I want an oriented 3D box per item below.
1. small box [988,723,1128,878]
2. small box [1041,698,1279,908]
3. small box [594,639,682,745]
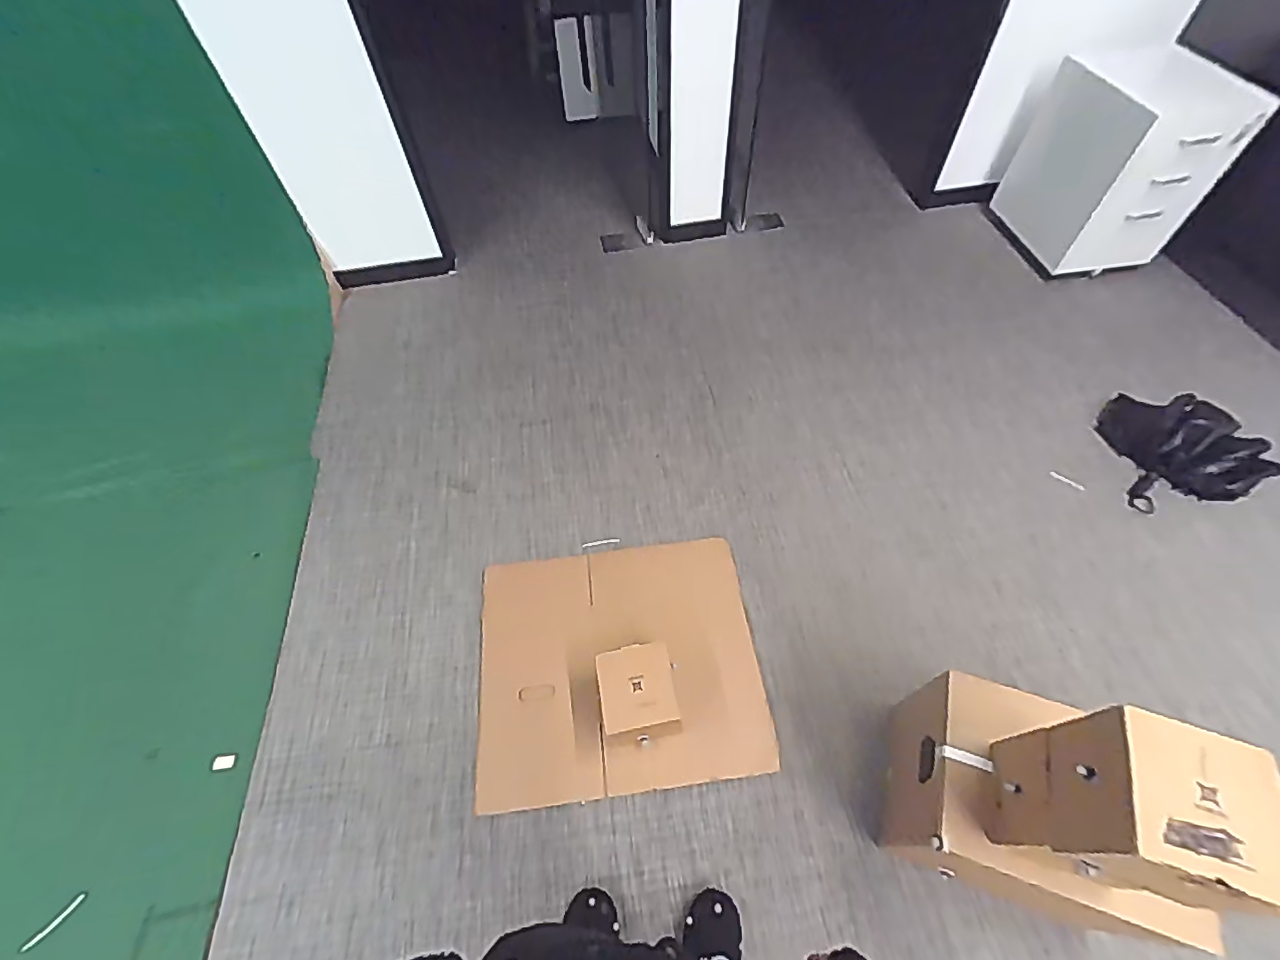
[{"bbox_3d":[0.676,0.507,0.851,0.179,0.176,0.168,12,56,10],"label":"small box"},{"bbox_3d":[0.661,0.419,0.709,0.168,0.176,0.179,17,58,13],"label":"small box"},{"bbox_3d":[-0.003,0.492,1.247,0.168,0.176,0.179,-13,56,-1],"label":"small box"}]
